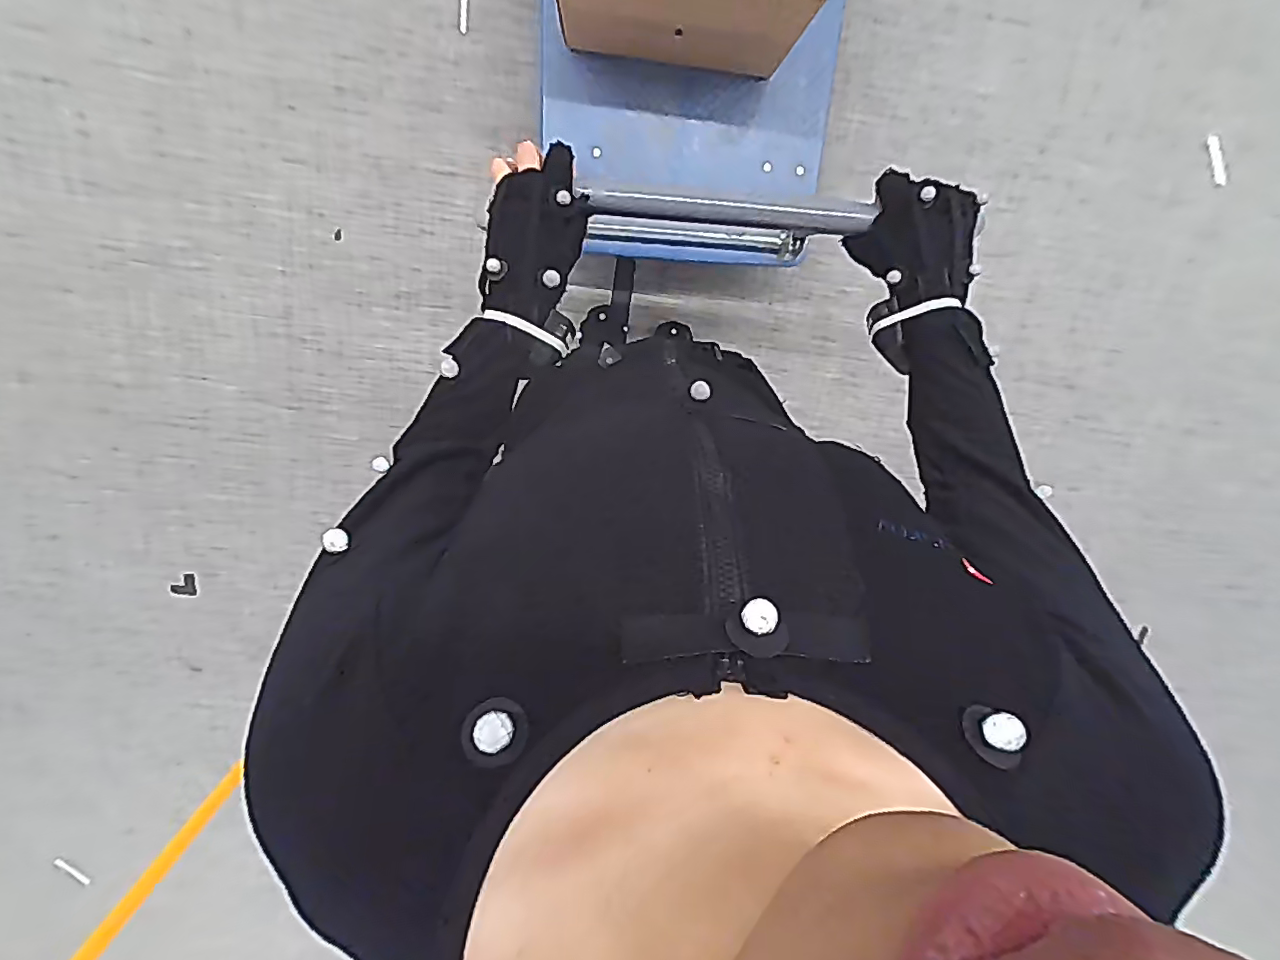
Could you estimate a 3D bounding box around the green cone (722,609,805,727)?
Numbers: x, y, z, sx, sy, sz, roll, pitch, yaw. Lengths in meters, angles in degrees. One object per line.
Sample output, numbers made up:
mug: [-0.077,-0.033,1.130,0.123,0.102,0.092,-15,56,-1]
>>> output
green cone: [0.384,0.558,1.540,0.202,0.368,0.200,10,108,-8]

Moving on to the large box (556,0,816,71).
large box: [0.075,-0.913,0.872,0.408,0.320,0.320,4,108,-4]
